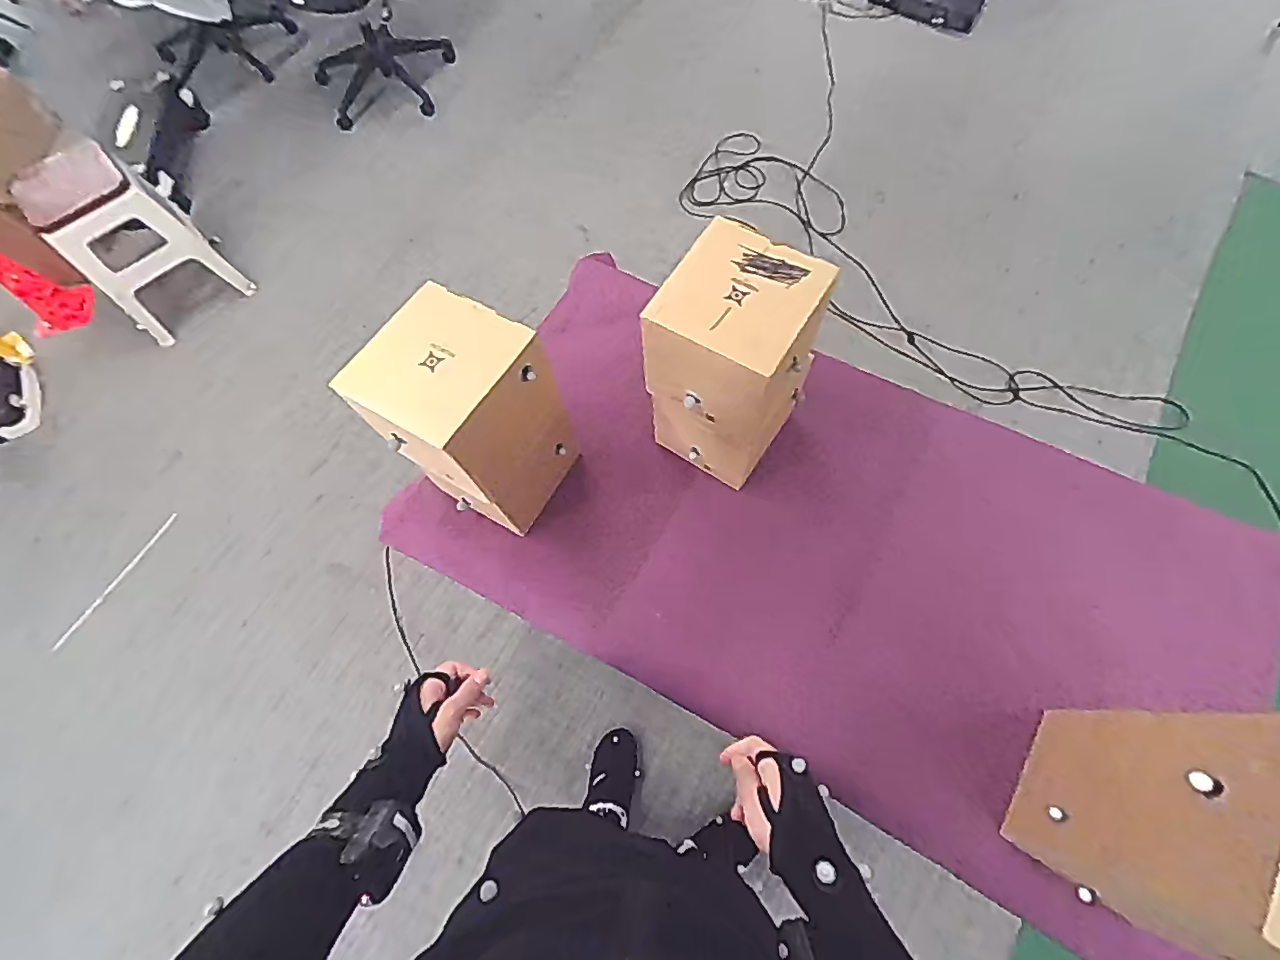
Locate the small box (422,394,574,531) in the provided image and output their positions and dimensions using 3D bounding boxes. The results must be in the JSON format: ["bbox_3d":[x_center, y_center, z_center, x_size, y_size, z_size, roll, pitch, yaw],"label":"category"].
[{"bbox_3d":[-0.215,-0.050,0.829,0.168,0.176,0.179,27,71,14],"label":"small box"}]

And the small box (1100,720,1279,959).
[{"bbox_3d":[0.543,0.321,0.452,0.168,0.176,0.179,31,72,16],"label":"small box"}]

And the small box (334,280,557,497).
[{"bbox_3d":[-0.223,-0.105,0.676,0.168,0.176,0.179,28,70,15],"label":"small box"}]

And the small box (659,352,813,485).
[{"bbox_3d":[0.136,-0.123,0.838,0.168,0.176,0.179,33,74,15],"label":"small box"}]

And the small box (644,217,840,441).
[{"bbox_3d":[0.119,-0.183,0.686,0.168,0.176,0.179,31,74,15],"label":"small box"}]
